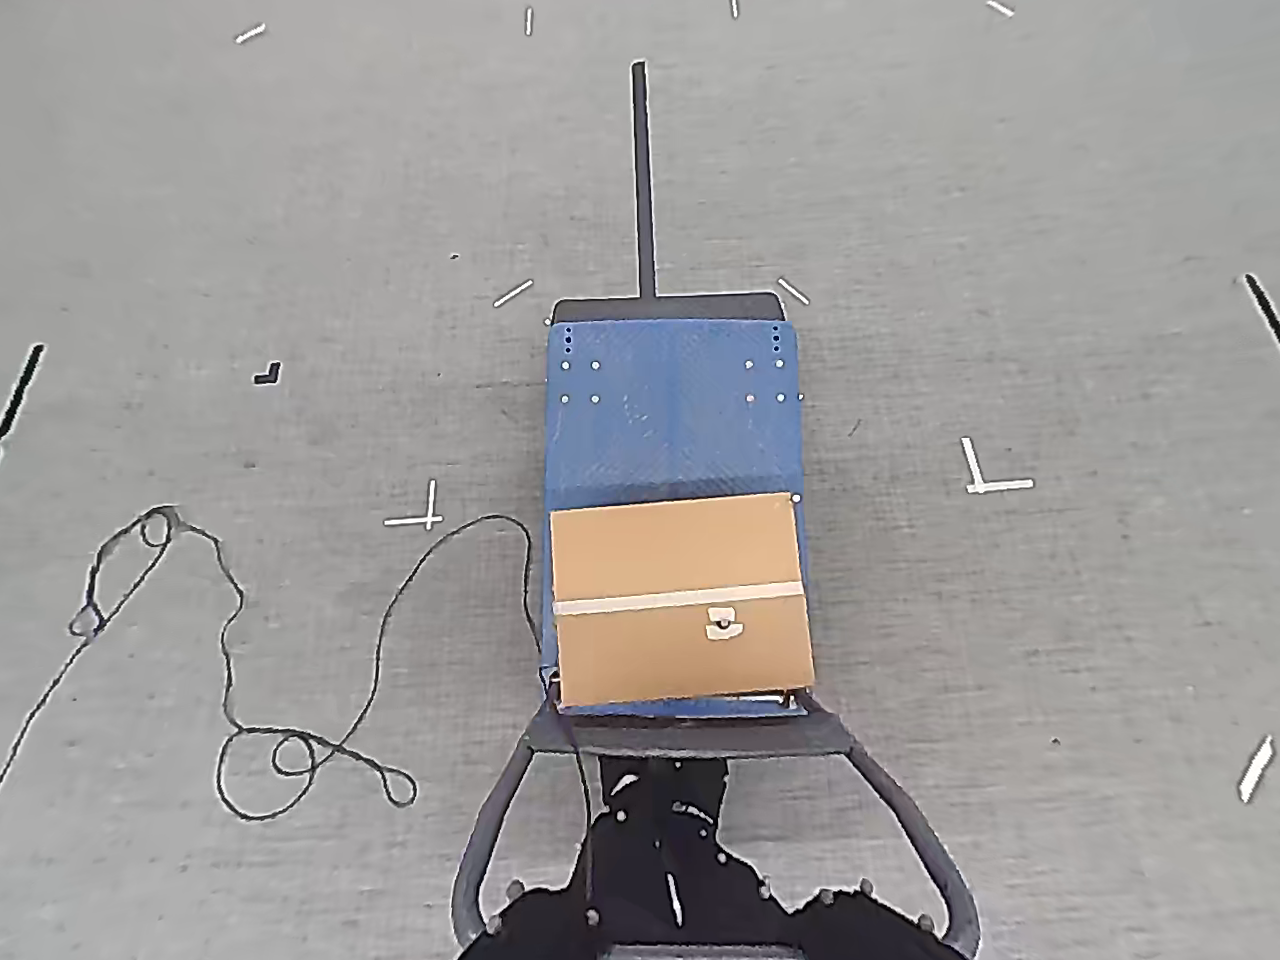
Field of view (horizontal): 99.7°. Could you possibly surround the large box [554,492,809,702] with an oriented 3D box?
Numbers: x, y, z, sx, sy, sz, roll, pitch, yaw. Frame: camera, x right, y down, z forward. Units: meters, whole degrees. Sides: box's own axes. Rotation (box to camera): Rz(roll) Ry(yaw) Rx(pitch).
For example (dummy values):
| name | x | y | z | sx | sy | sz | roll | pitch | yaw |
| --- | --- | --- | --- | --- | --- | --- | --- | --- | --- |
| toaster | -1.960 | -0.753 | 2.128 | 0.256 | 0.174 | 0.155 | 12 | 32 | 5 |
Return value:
| name | x | y | z | sx | sy | sz | roll | pitch | yaw |
| --- | --- | --- | --- | --- | --- | --- | --- | --- | --- |
| large box | 0.064 | 0.211 | 1.046 | 0.408 | 0.320 | 0.320 | -5 | 83 | -1 |
